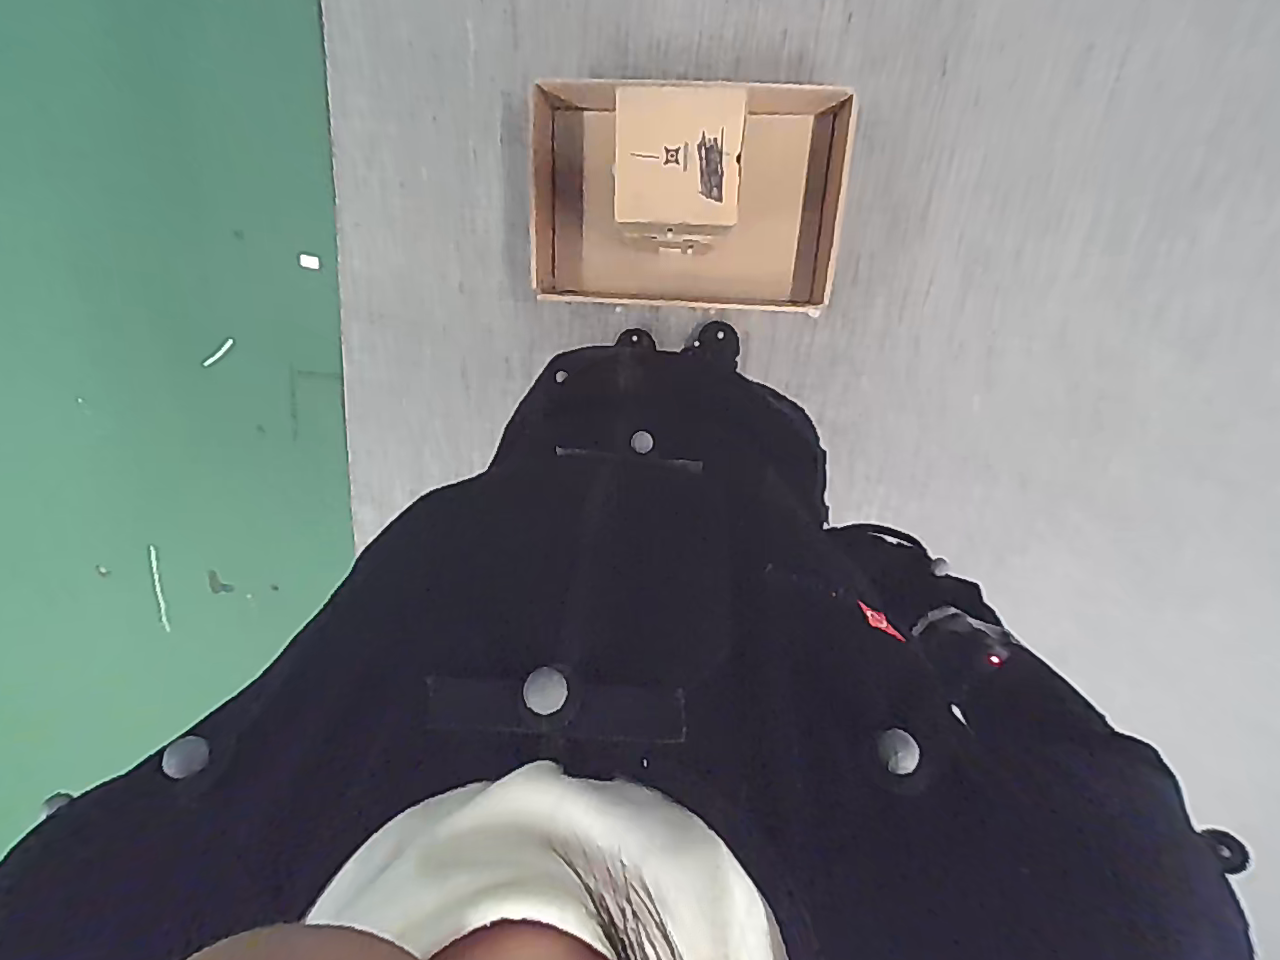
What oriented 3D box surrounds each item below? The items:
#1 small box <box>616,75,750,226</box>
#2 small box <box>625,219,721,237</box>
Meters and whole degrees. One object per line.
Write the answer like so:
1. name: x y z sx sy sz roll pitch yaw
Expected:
1. small box: 0.061 -0.481 0.813 0.179 0.176 0.168 4 110 4
2. small box: 0.065 -0.527 0.953 0.168 0.176 0.179 2 111 5
